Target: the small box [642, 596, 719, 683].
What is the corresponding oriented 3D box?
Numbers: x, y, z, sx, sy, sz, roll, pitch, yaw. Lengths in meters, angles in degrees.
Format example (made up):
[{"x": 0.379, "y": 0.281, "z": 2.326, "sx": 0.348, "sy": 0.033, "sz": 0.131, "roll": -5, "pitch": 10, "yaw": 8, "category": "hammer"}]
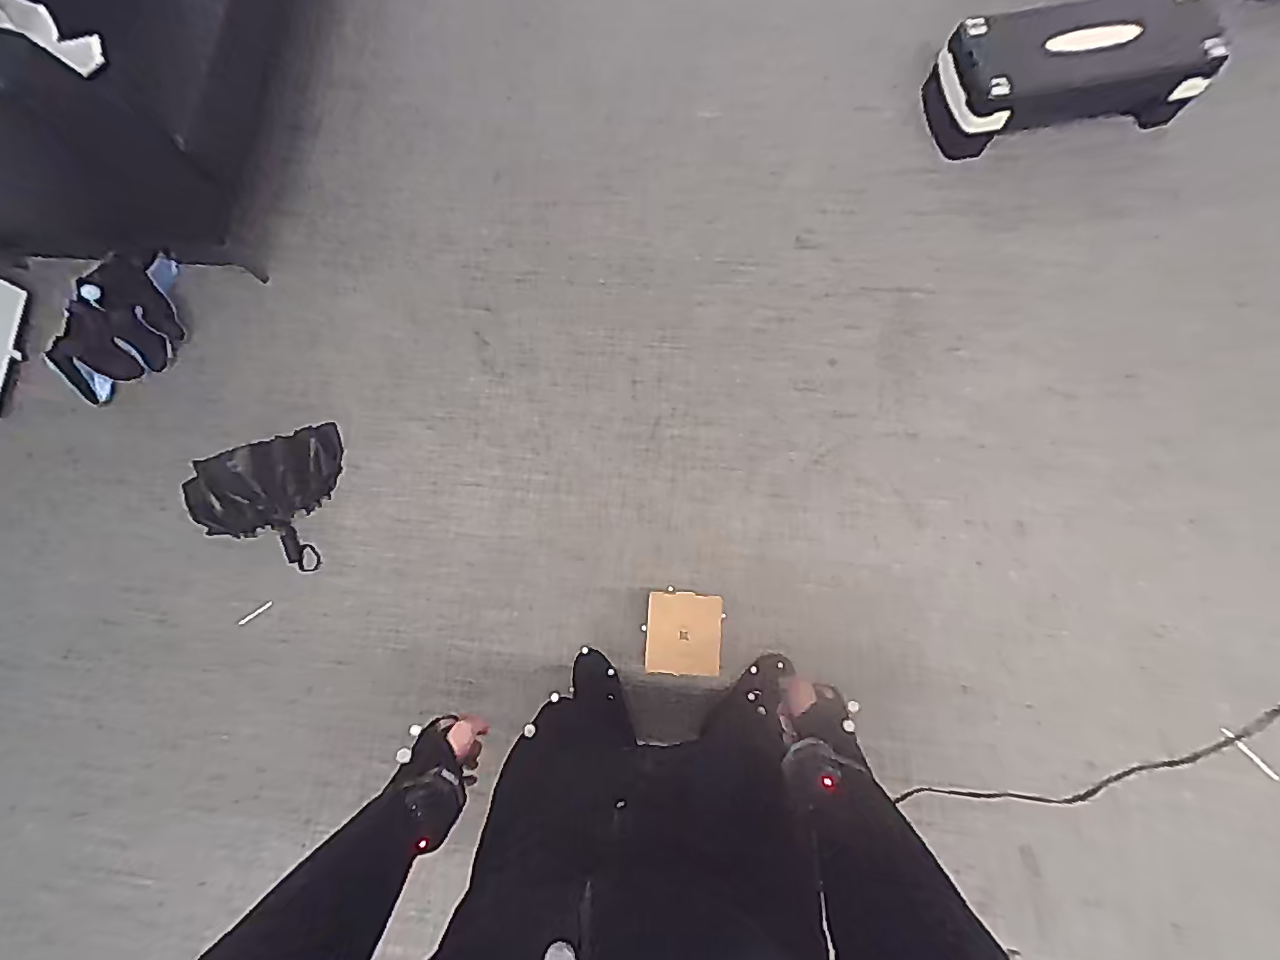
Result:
[{"x": 0.095, "y": 0.370, "z": 1.279, "sx": 0.168, "sy": 0.176, "sz": 0.179, "roll": 3, "pitch": 78, "yaw": 5, "category": "small box"}]
